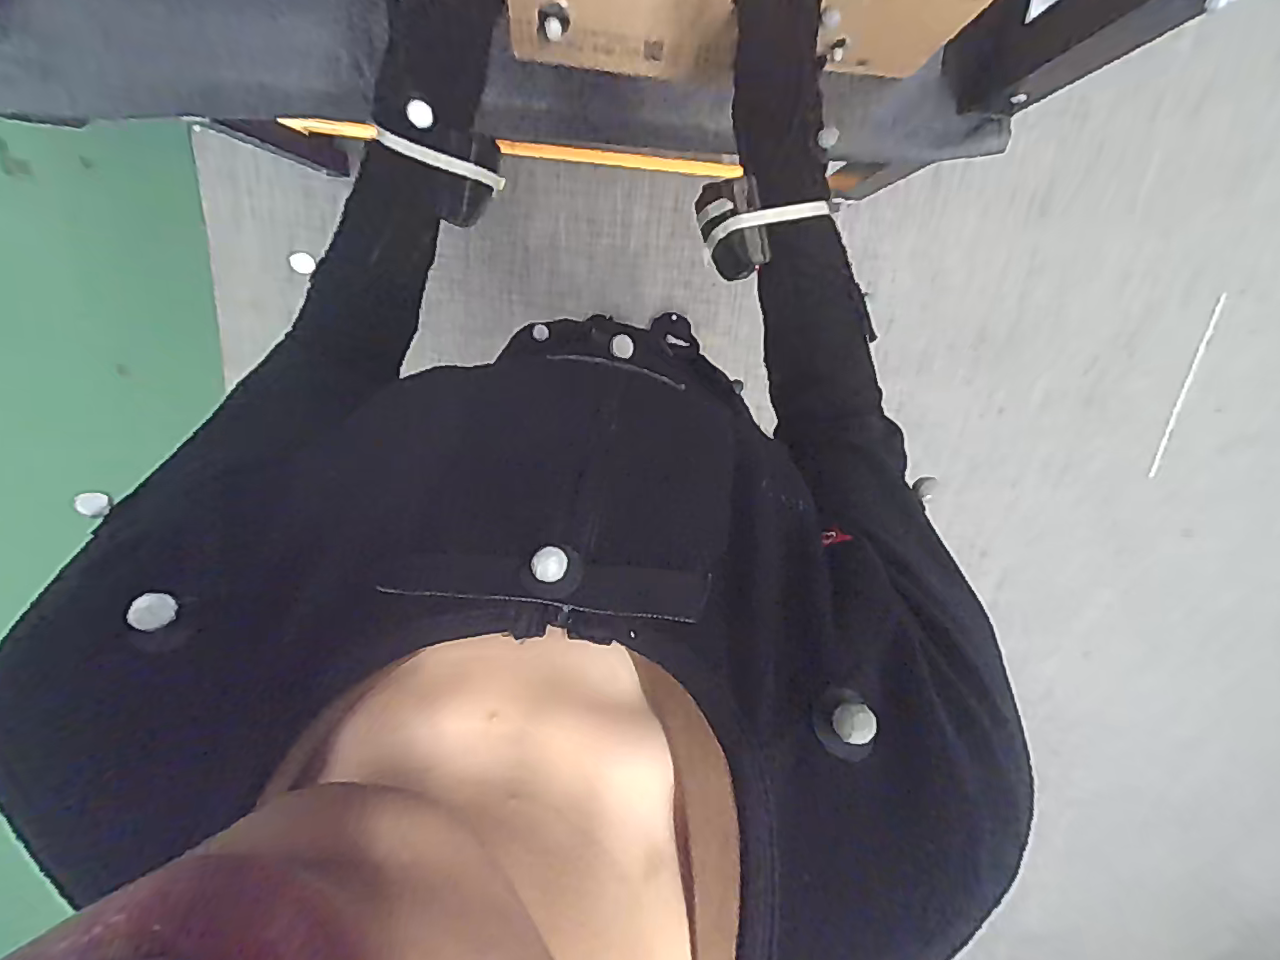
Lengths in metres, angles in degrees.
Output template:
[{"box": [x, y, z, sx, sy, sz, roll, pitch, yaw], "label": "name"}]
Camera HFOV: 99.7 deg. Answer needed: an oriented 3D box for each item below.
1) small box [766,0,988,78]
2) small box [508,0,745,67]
[{"box": [0.220, -0.506, 0.488, 0.168, 0.176, 0.179, 6, 108, 0], "label": "small box"}, {"box": [-0.003, -0.409, 0.342, 0.168, 0.176, 0.179, 4, 73, -6], "label": "small box"}]
